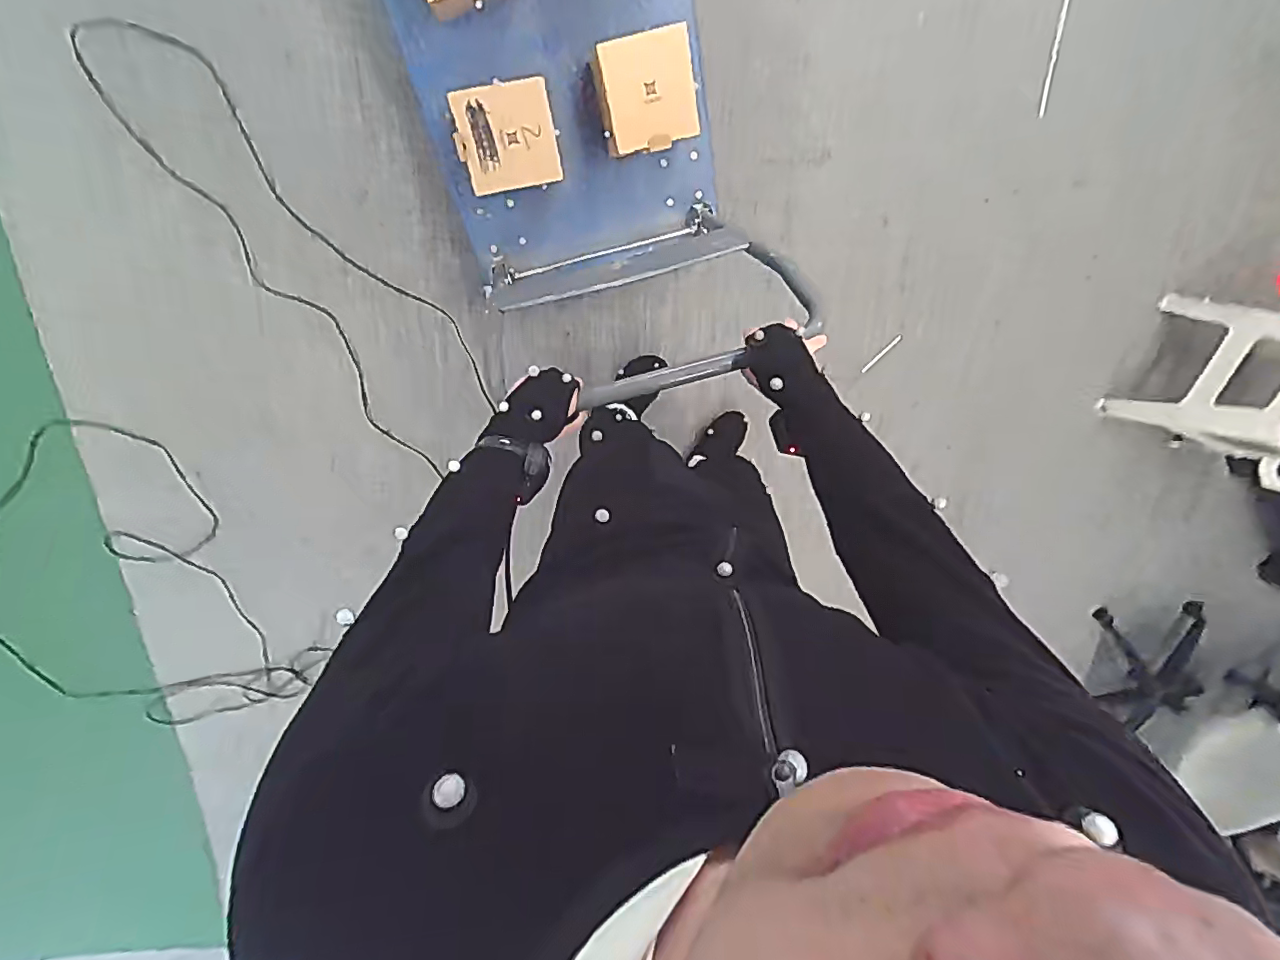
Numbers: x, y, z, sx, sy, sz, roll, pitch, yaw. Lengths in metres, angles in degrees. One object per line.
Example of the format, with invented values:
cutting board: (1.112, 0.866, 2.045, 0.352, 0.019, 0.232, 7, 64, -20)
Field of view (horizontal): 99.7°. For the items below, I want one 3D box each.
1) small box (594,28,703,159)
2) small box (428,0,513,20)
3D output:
small box: (0.012, -0.746, 1.061, 0.168, 0.176, 0.179, -15, 123, -1)
small box: (-0.302, -0.905, 0.902, 0.168, 0.176, 0.179, -20, 123, 1)
